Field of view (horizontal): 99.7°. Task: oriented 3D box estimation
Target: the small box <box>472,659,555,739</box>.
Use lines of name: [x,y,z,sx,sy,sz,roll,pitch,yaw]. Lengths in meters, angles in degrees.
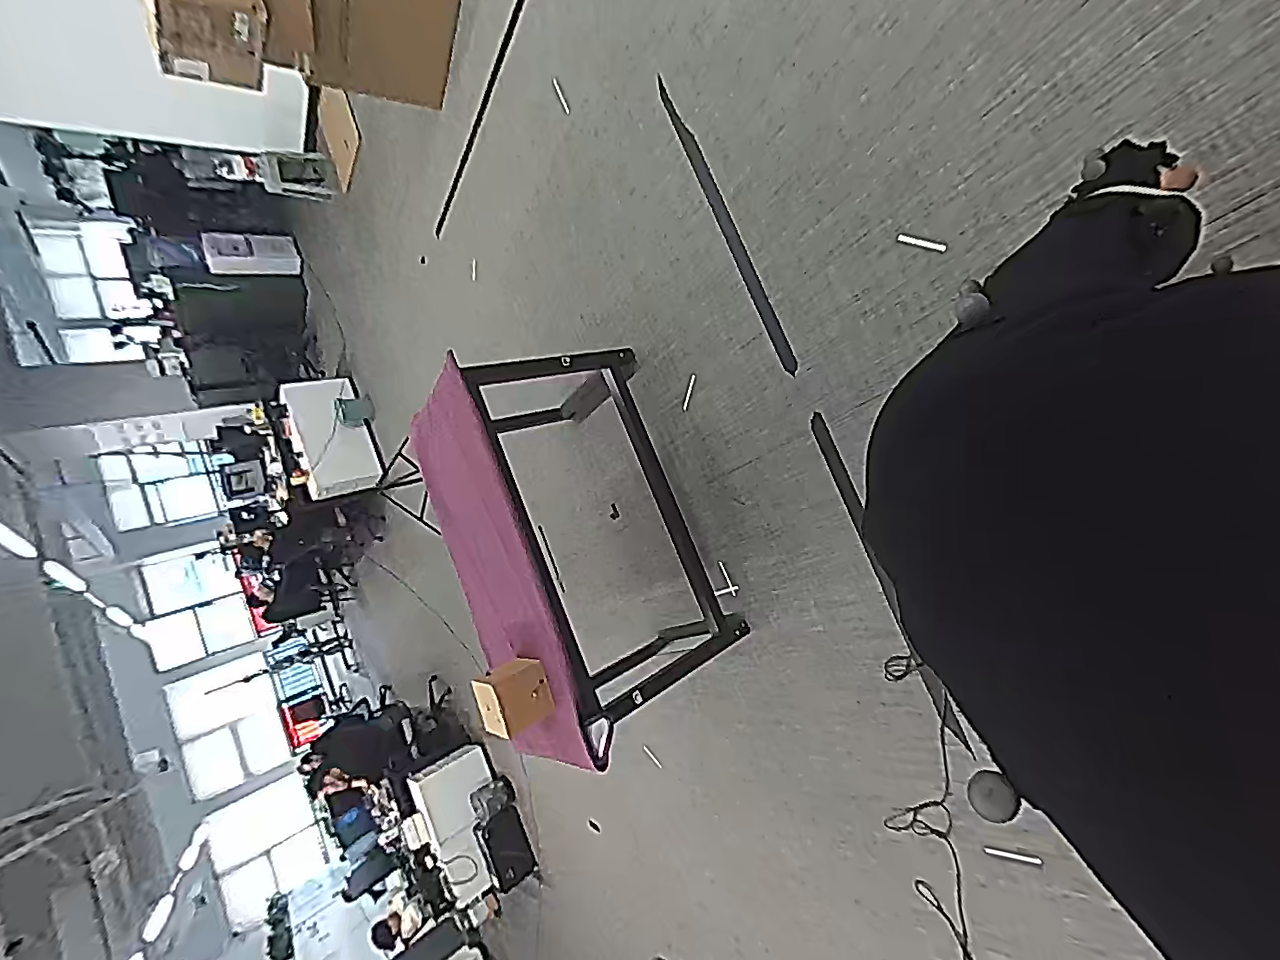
small box: [-0.388,0.665,1.665,0.179,0.176,0.168,-20,88,50]
